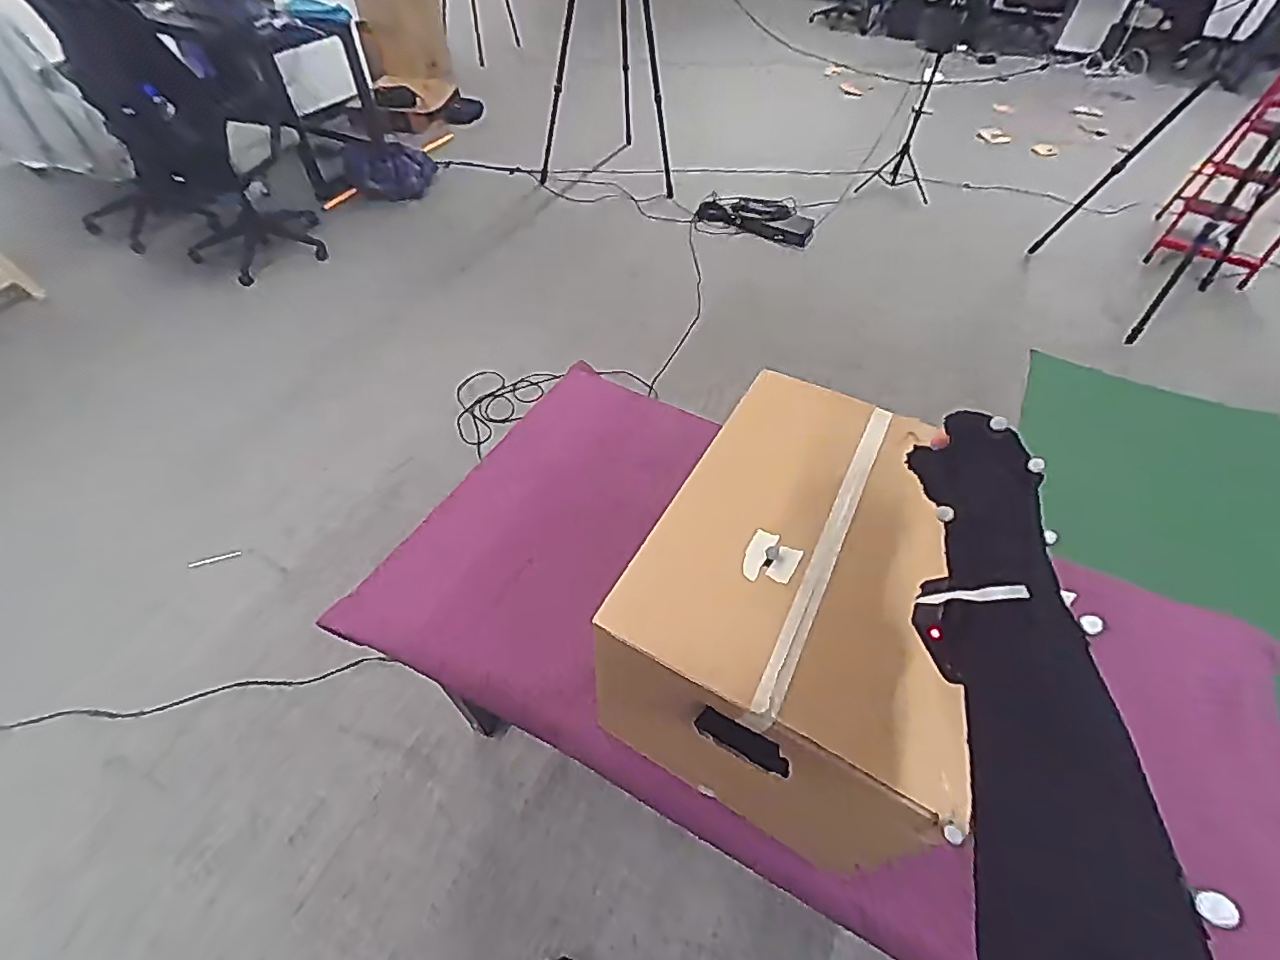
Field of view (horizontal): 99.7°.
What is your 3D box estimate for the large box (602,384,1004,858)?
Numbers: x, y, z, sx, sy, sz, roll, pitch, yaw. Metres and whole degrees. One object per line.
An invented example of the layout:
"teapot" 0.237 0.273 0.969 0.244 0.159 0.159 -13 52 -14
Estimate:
"large box" 0.184 0.159 0.667 0.320 0.320 0.408 25 54 17
